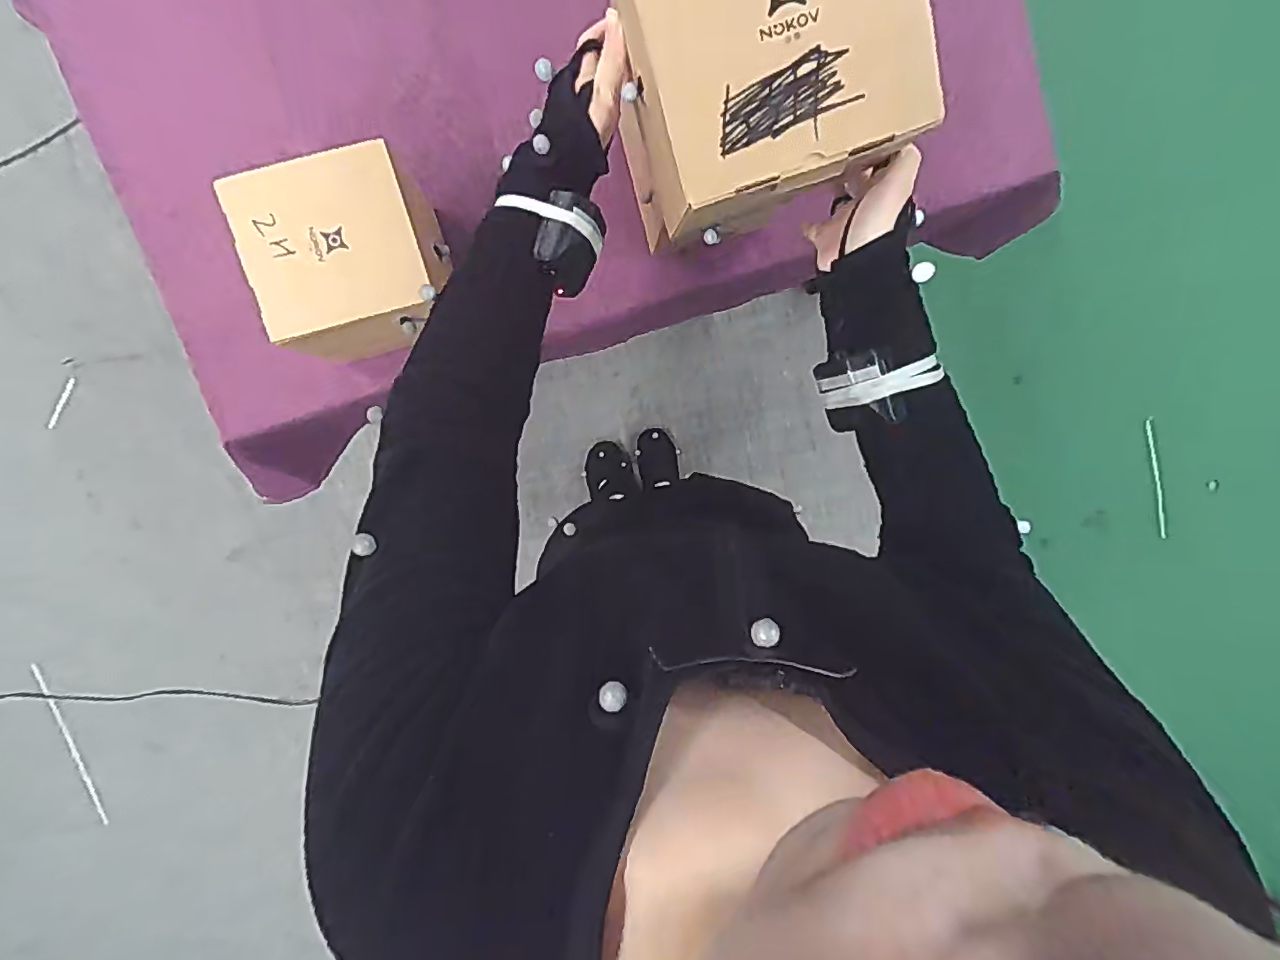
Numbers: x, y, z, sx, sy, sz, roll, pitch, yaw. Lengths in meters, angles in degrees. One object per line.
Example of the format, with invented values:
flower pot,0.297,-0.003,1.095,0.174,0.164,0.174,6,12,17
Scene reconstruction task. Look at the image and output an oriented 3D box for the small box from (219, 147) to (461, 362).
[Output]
small box,-0.324,-0.246,0.632,0.179,0.176,0.168,-16,96,-2
